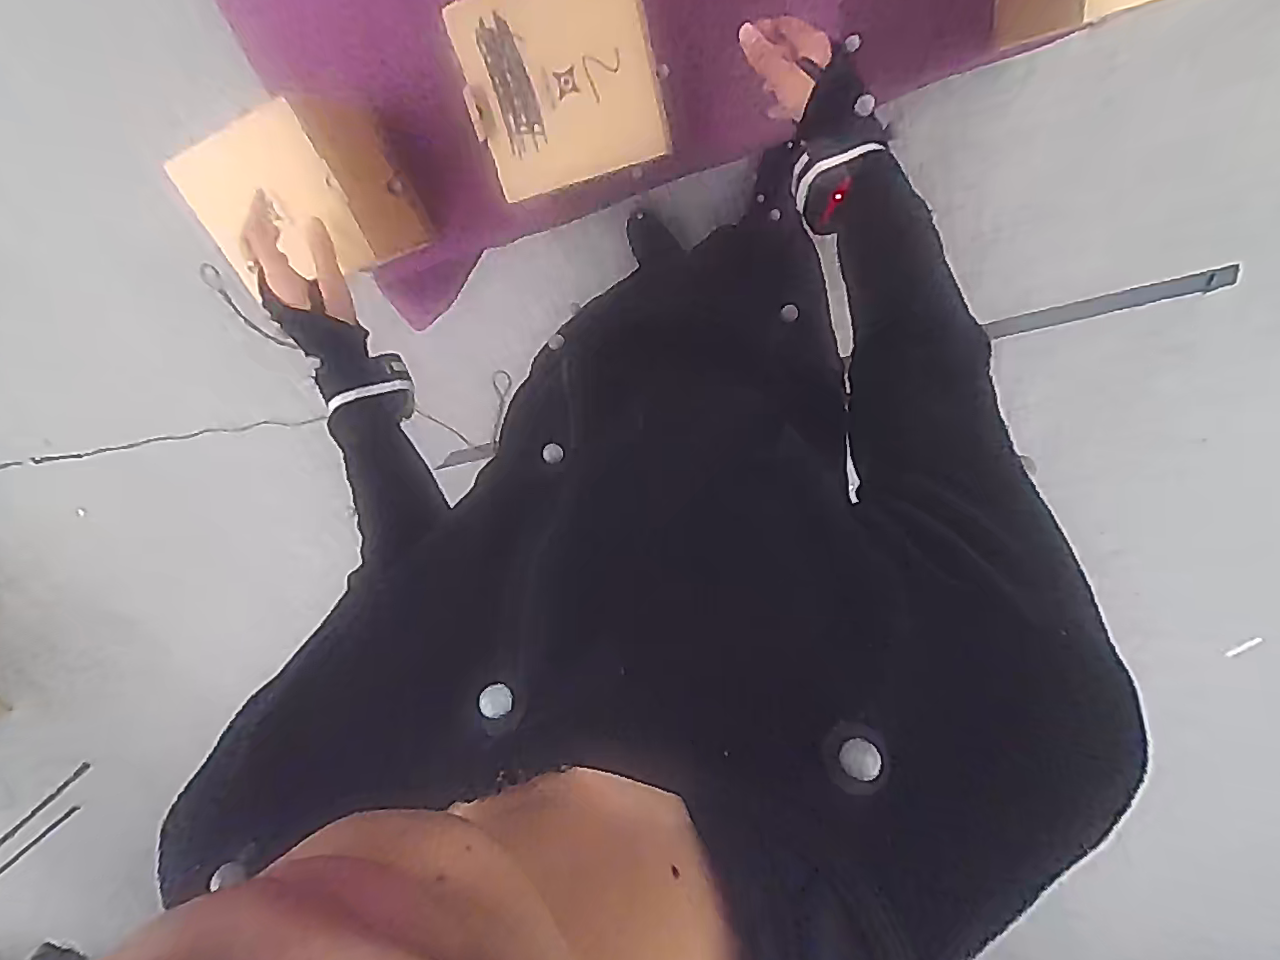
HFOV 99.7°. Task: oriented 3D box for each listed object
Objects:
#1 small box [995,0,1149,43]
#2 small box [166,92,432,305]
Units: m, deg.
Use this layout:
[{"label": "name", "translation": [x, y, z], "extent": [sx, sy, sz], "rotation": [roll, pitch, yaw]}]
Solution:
[{"label": "small box", "translation": [0.428, -0.511, 0.456], "extent": [0.168, 0.176, 0.179], "rotation": [-10, 120, 13]}, {"label": "small box", "translation": [-0.394, -0.338, 0.661], "extent": [0.179, 0.176, 0.168], "rotation": [-16, 118, 14]}]
